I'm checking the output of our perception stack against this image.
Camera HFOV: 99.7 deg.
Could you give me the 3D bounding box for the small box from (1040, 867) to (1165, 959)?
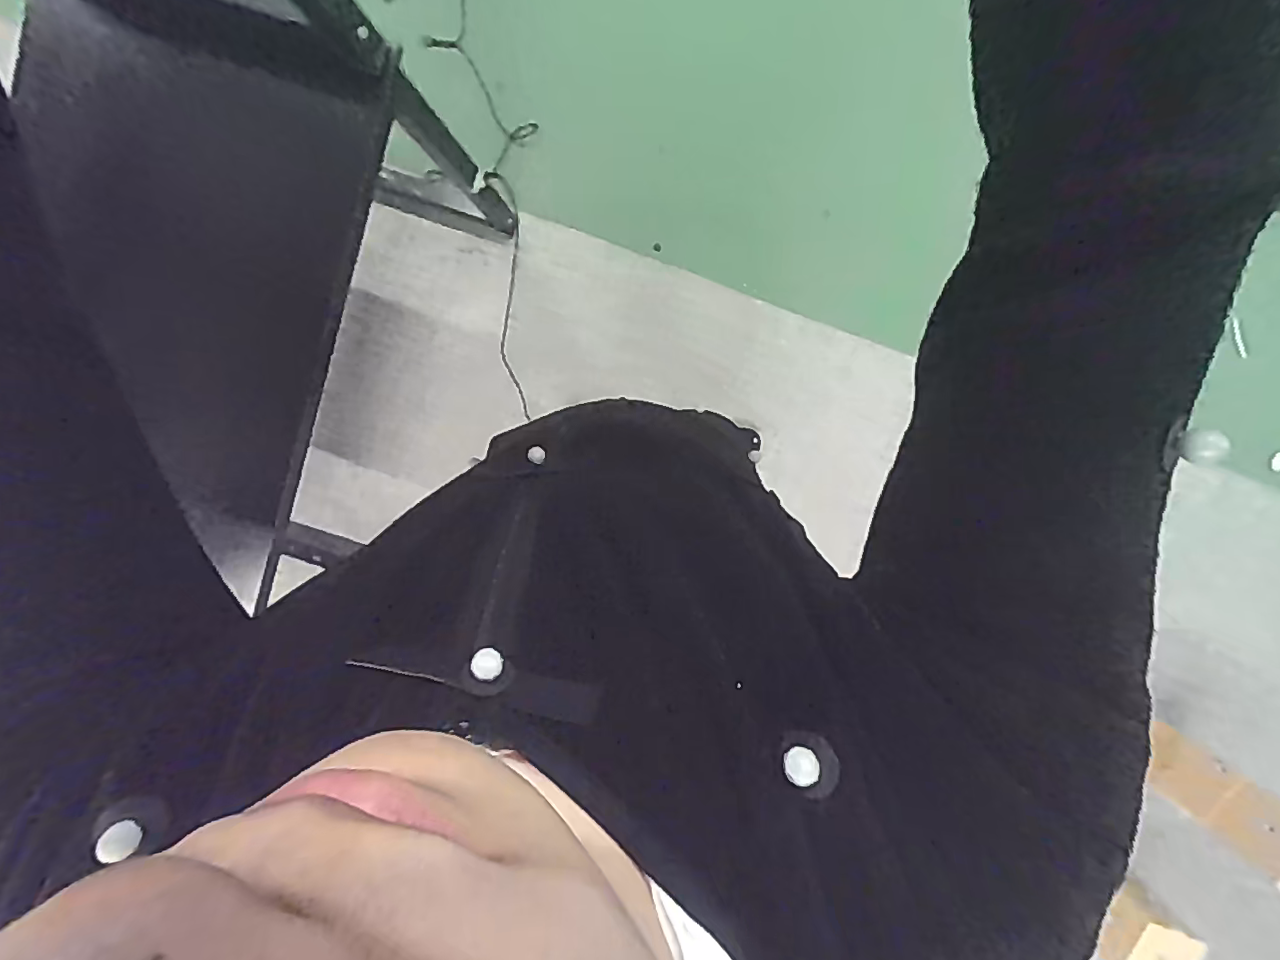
[{"bbox_3d":[1.262,1.225,1.492,0.168,0.176,0.179,23,97,-1],"label":"small box"}]
